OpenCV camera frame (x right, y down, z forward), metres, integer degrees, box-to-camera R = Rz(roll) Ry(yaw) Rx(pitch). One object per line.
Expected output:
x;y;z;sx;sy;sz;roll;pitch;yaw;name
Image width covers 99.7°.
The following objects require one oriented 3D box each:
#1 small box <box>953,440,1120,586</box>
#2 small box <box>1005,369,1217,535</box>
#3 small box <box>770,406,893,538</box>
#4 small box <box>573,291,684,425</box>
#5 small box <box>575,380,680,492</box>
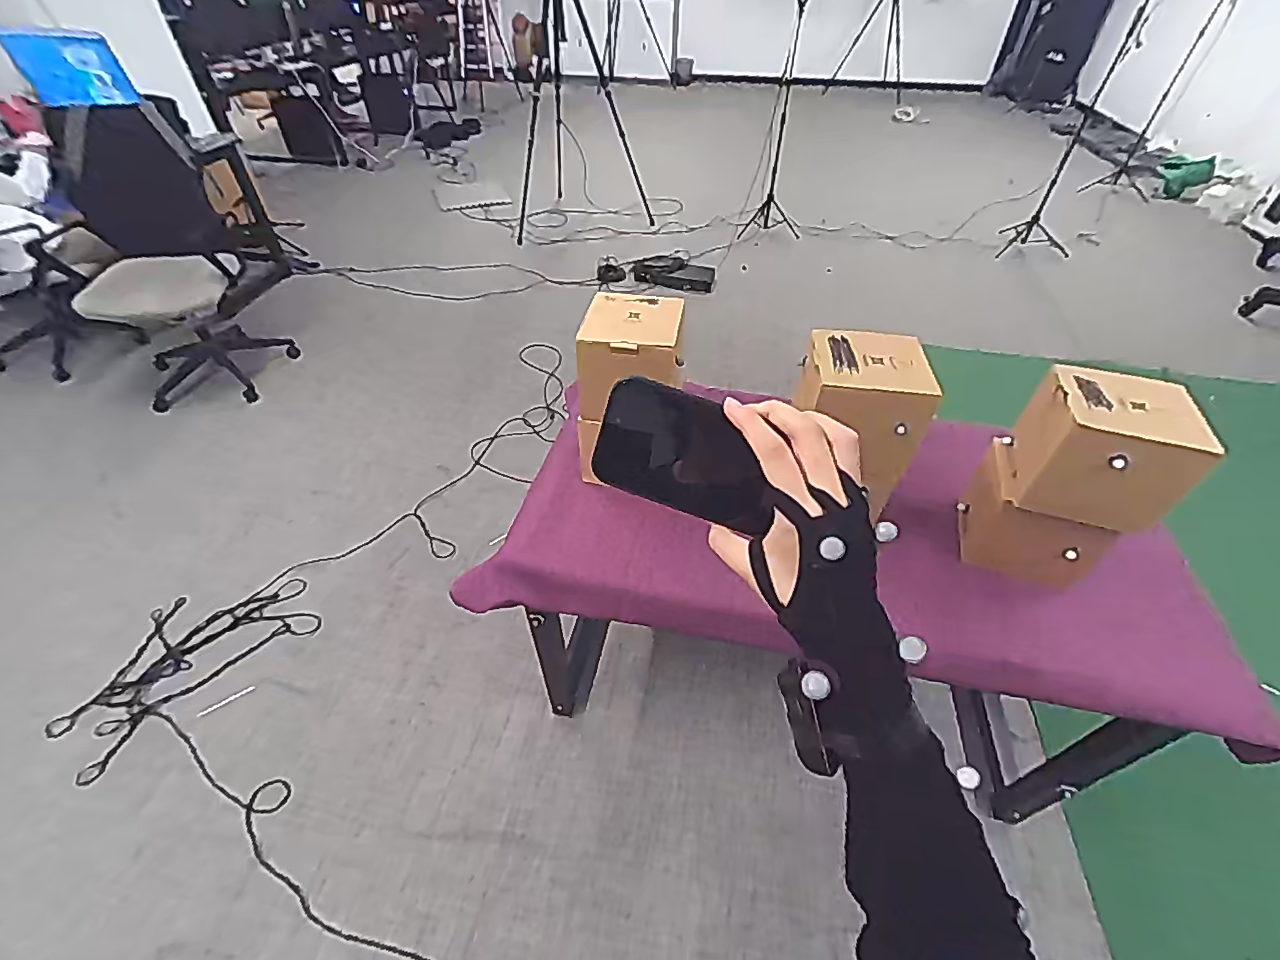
0.679;0.062;0.949;0.179;0.176;0.168;15;46;14;small box
0.685;-0.041;0.821;0.179;0.176;0.168;16;47;13;small box
0.353;-0.012;1.015;0.179;0.176;0.168;11;46;10;small box
-0.016;-0.220;0.985;0.168;0.176;0.179;8;46;6;small box
-0.020;-0.099;1.095;0.168;0.176;0.179;11;46;10;small box
